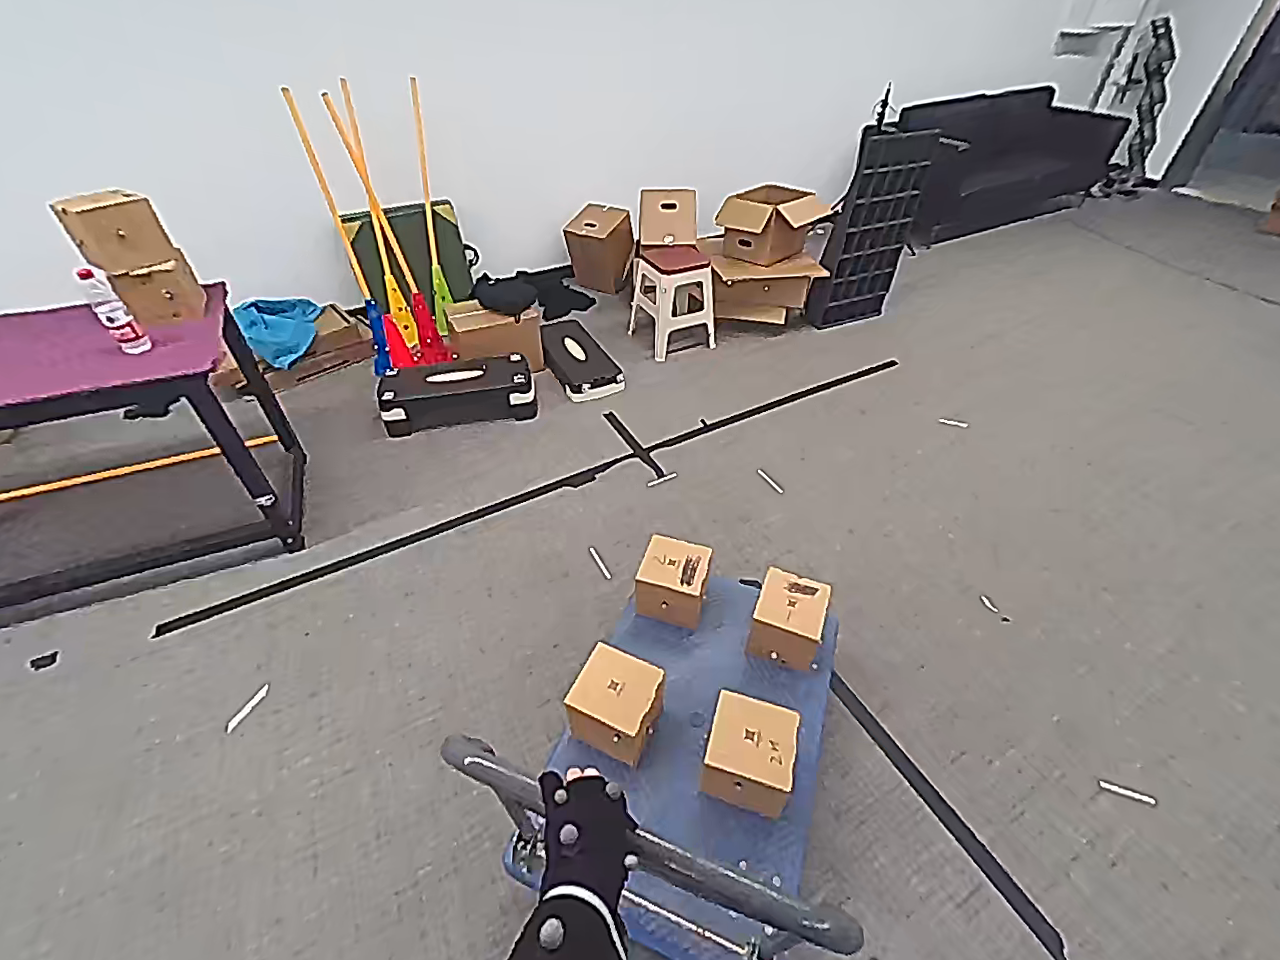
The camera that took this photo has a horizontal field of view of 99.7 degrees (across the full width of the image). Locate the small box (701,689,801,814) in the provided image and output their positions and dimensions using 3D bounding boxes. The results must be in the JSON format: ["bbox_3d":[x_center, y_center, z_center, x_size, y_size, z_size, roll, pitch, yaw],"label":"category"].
[{"bbox_3d":[0.237,0.591,1.174,0.179,0.176,0.168,13,44,14],"label":"small box"}]

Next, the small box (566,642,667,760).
[{"bbox_3d":[-0.051,0.515,1.256,0.179,0.176,0.168,18,46,17],"label":"small box"}]

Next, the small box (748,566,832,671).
[{"bbox_3d":[0.389,0.365,1.420,0.168,0.176,0.179,17,46,17],"label":"small box"}]
